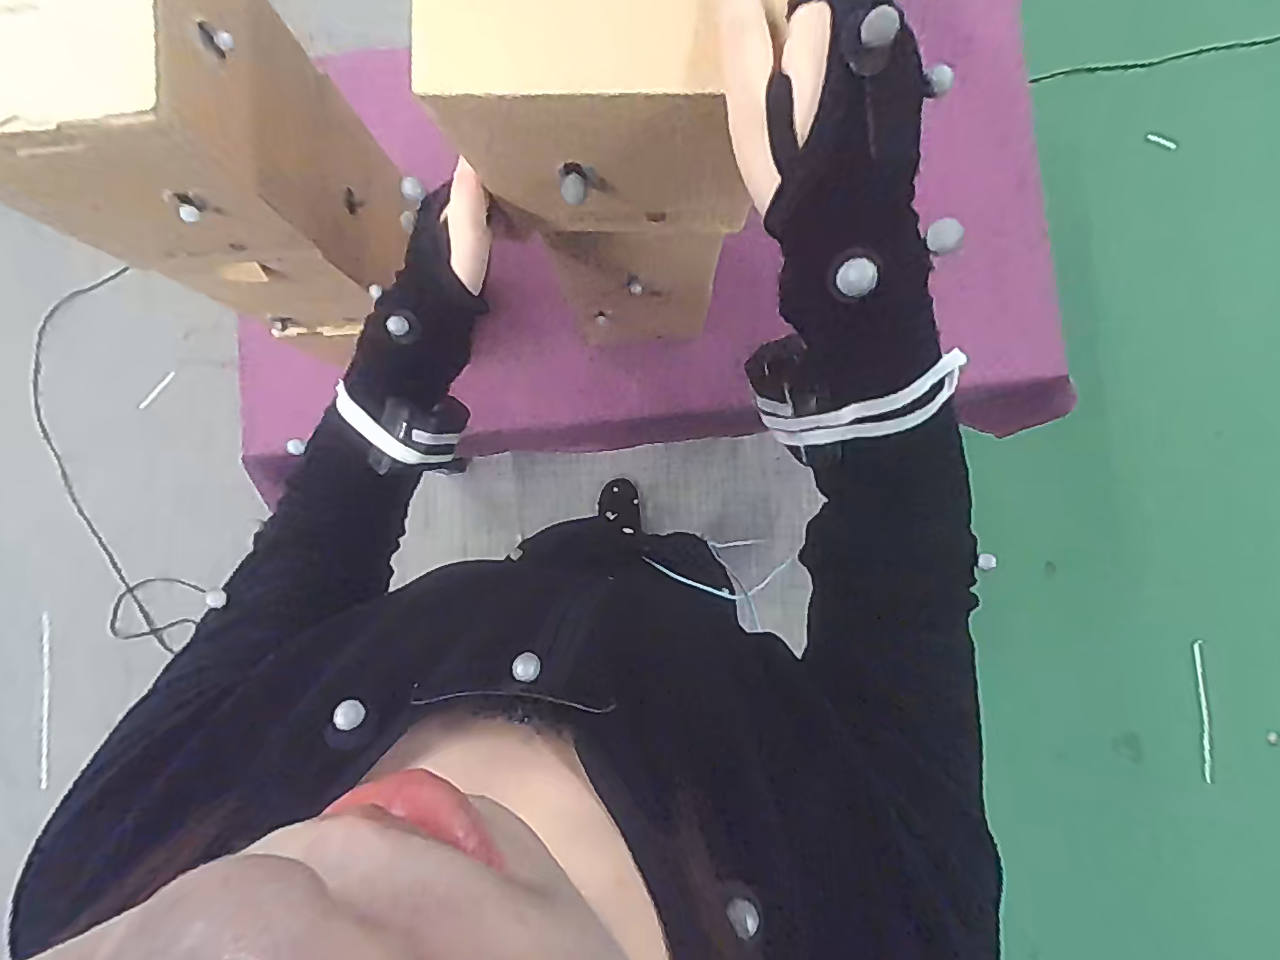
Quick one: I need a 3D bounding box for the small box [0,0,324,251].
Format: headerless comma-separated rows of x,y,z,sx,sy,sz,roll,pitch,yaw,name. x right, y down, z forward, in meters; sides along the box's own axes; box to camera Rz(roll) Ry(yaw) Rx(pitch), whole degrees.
-0.354,-0.281,0.390,0.168,0.176,0.179,-3,87,-1,small box

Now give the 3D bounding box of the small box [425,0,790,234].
-0.007,-0.260,0.315,0.168,0.176,0.179,3,94,3,small box

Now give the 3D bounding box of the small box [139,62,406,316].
-0.354,-0.277,0.553,0.168,0.176,0.179,-1,86,0,small box

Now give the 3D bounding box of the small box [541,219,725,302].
-0.005,-0.300,0.552,0.168,0.176,0.179,0,87,1,small box

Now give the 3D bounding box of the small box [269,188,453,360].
-0.357,-0.262,0.717,0.168,0.176,0.179,-2,88,-1,small box
